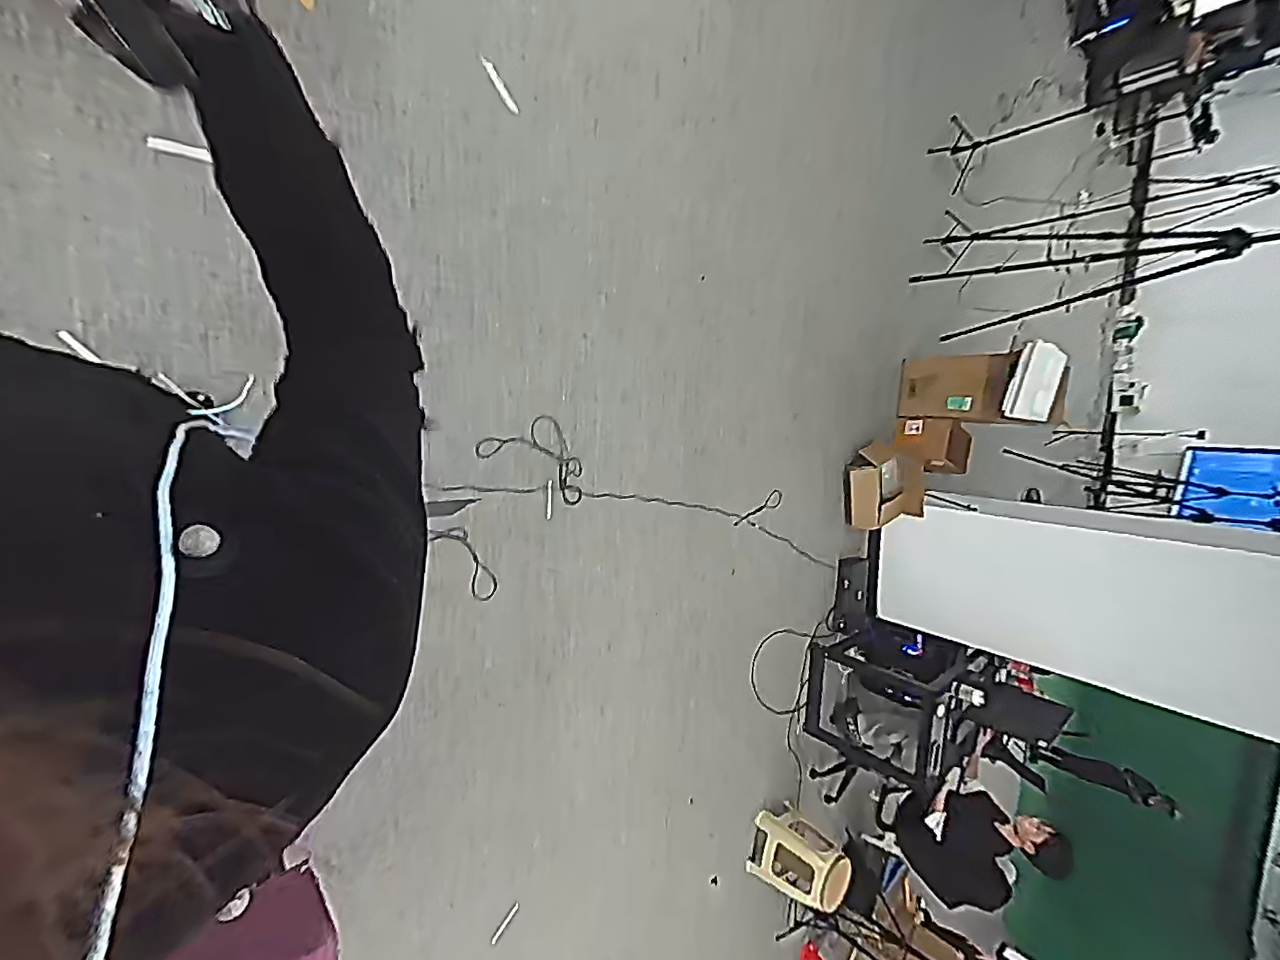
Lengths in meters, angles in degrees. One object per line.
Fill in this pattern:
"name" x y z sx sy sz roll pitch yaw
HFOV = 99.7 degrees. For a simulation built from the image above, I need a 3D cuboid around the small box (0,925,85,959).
"small box" -1.204 1.031 1.046 0.179 0.176 0.168 -6 101 -39
